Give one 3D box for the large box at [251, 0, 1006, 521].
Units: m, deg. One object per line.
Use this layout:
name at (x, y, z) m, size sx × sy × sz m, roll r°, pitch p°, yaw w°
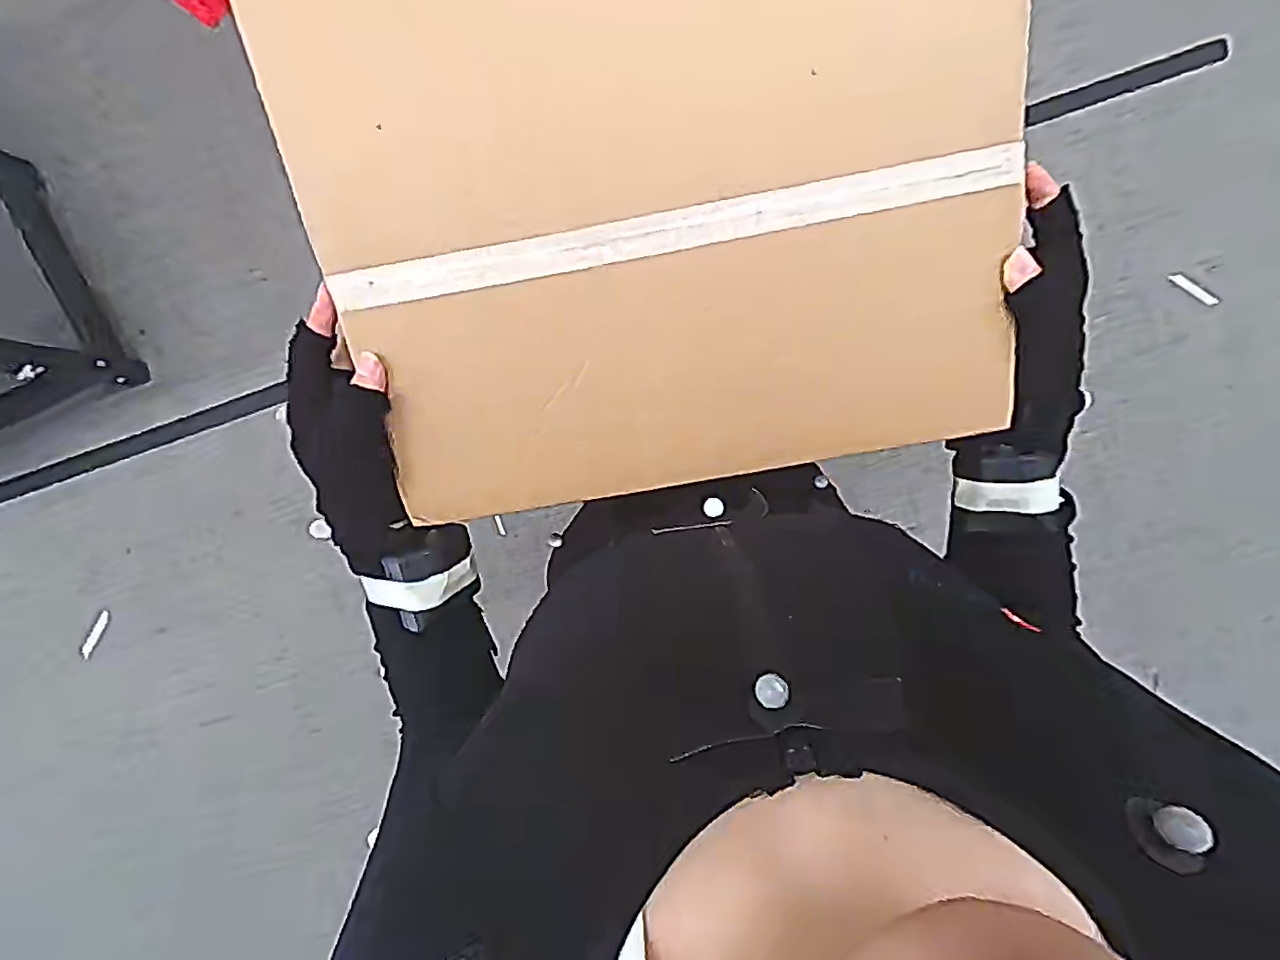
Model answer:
large box at (0.012, -0.197, 0.465) m, size 0.408 × 0.320 × 0.320 m, roll -9°, pitch 109°, yaw 2°
